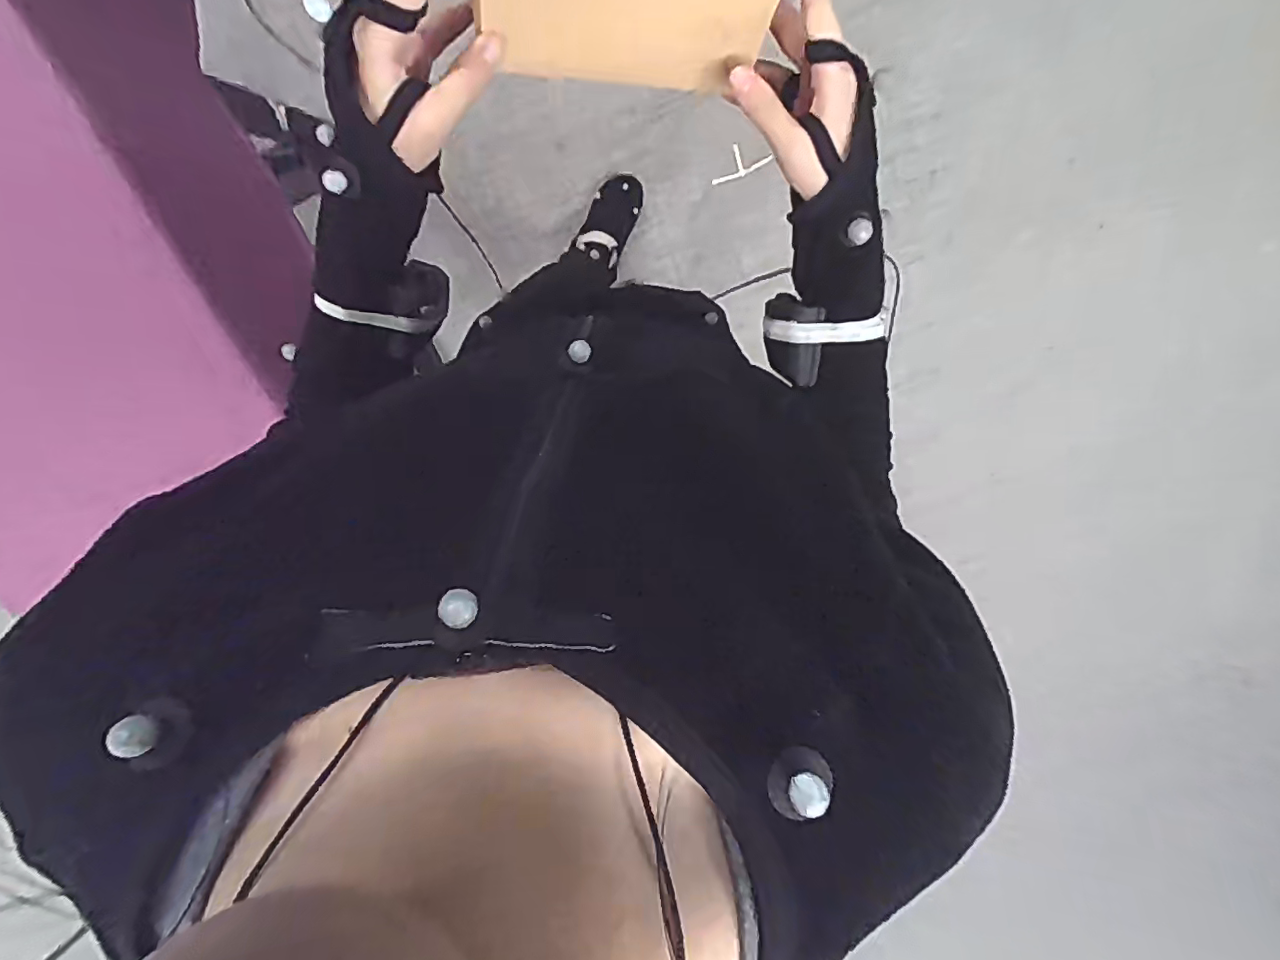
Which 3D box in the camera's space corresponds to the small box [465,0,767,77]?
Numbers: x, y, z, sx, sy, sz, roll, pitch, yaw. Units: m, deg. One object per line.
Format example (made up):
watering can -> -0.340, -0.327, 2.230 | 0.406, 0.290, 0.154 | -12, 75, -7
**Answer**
small box -> -0.010, -0.353, 0.268 | 0.168, 0.179, 0.176 | -6, 72, -15
